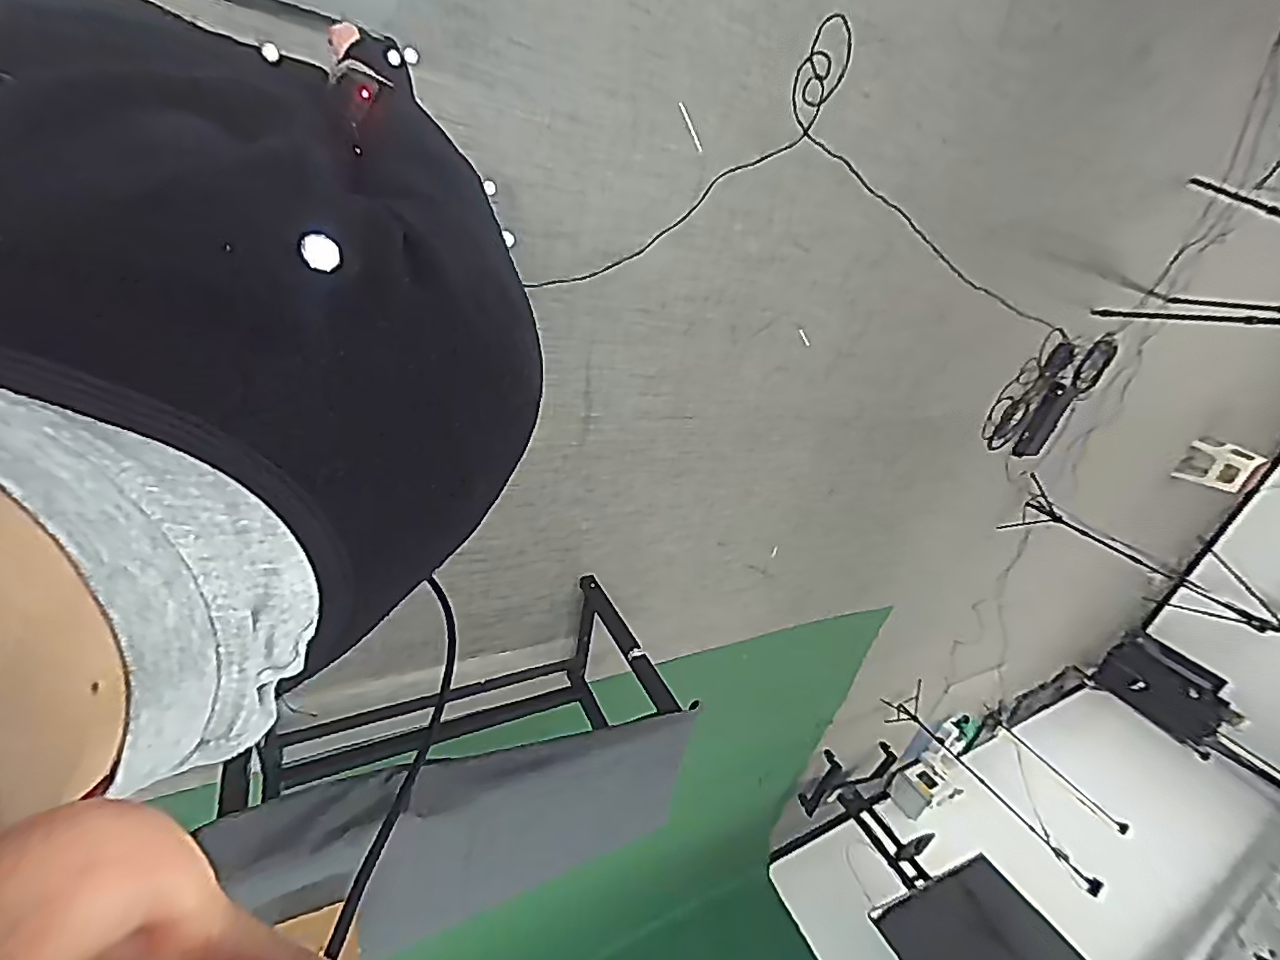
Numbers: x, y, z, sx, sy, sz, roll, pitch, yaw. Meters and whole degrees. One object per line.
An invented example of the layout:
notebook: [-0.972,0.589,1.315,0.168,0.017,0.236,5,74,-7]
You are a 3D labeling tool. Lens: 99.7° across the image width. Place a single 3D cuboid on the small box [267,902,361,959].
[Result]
small box: [-0.742,1.117,1.230,0.179,0.176,0.168,1,117,-34]
